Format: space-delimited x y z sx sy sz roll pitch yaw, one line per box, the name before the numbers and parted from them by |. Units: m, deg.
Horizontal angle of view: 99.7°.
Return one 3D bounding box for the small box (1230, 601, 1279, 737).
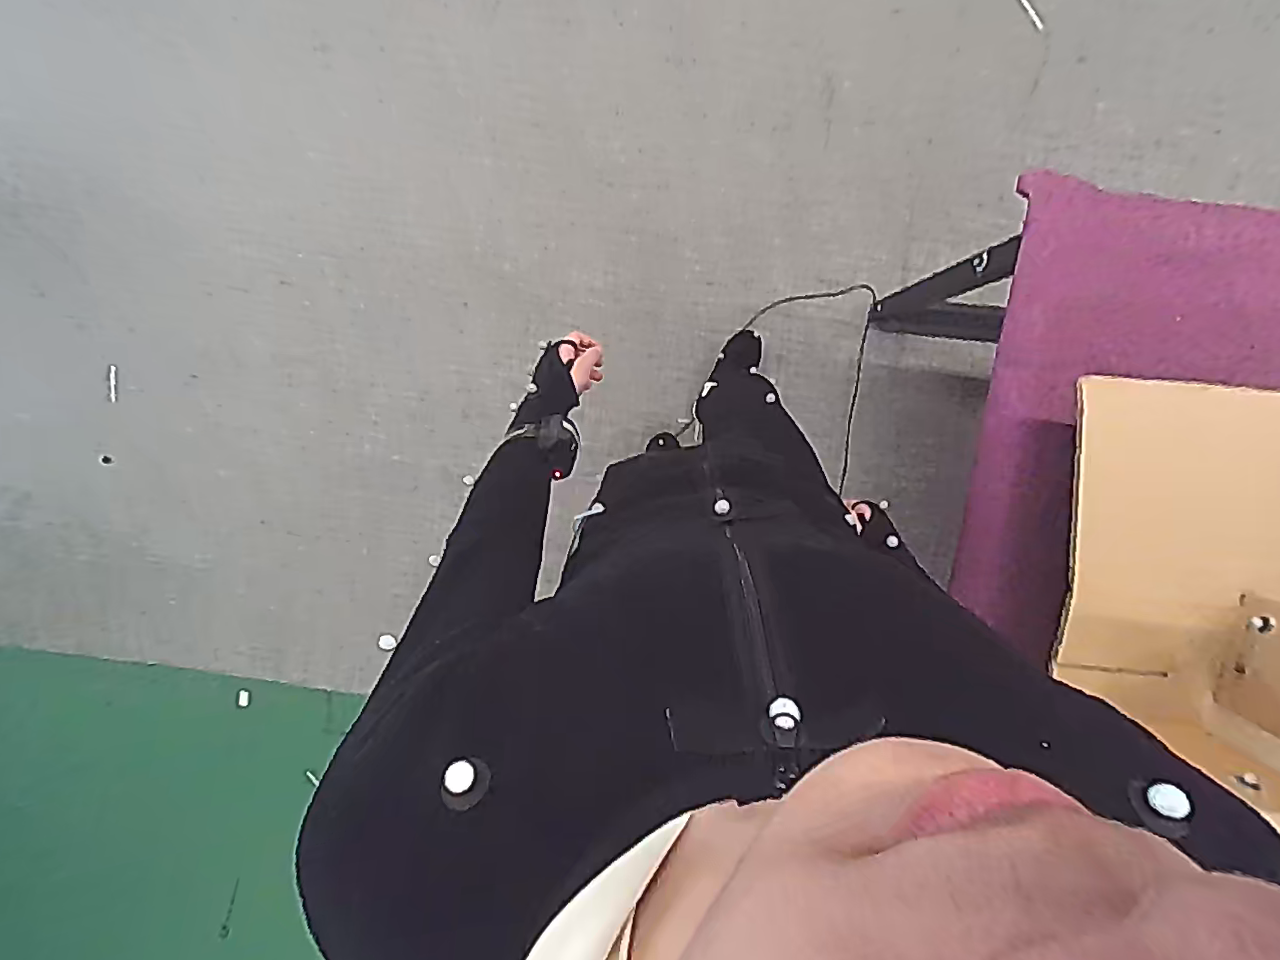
small box | 0.887 0.255 0.646 0.179 0.176 0.168 4 100 0
